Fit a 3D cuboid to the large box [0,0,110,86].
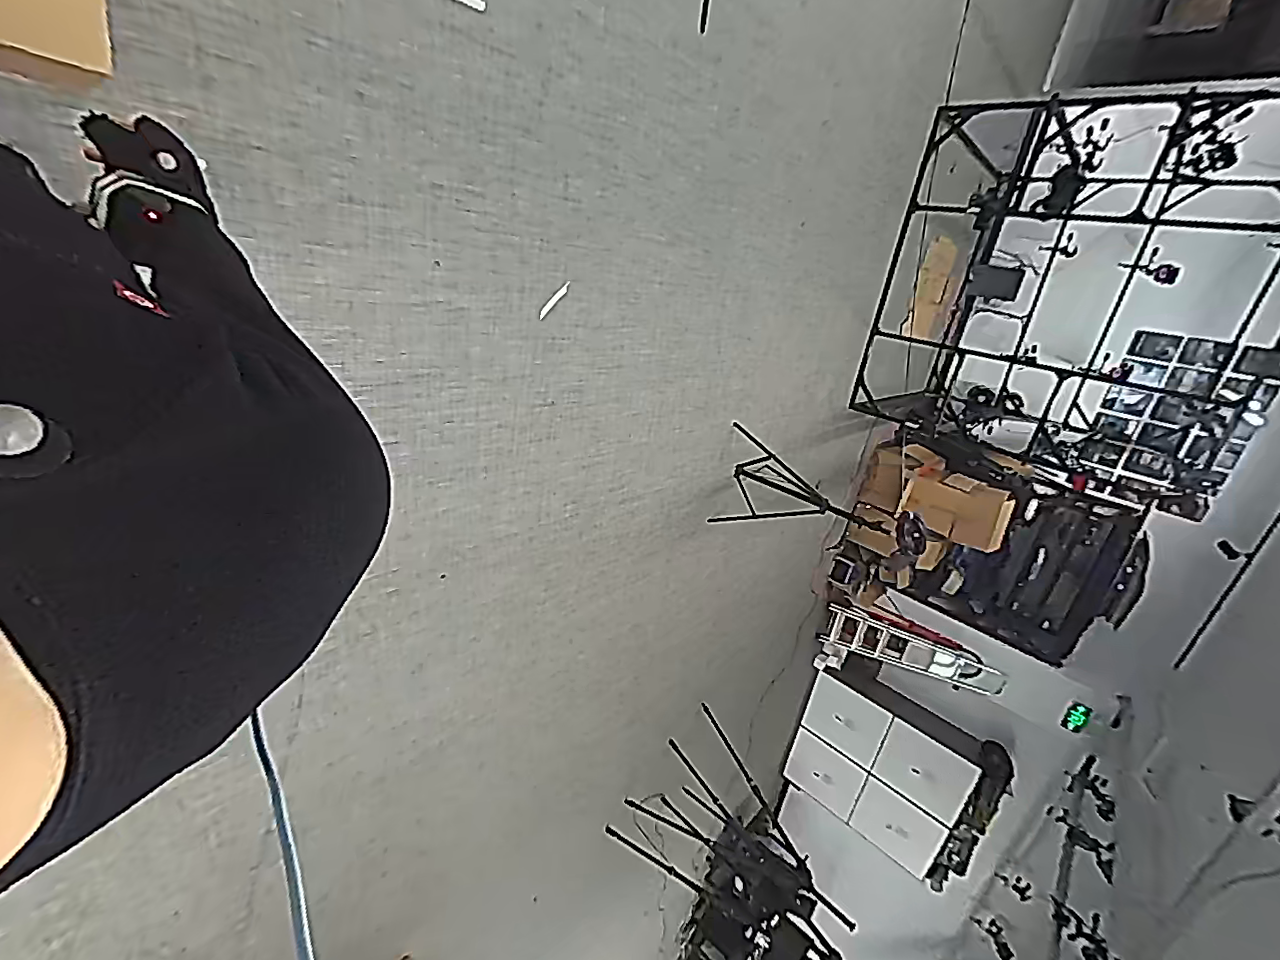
[{"bbox_3d":[-0.979,-0.747,0.666,0.408,0.320,0.320,-13,121,-48],"label":"large box"}]
